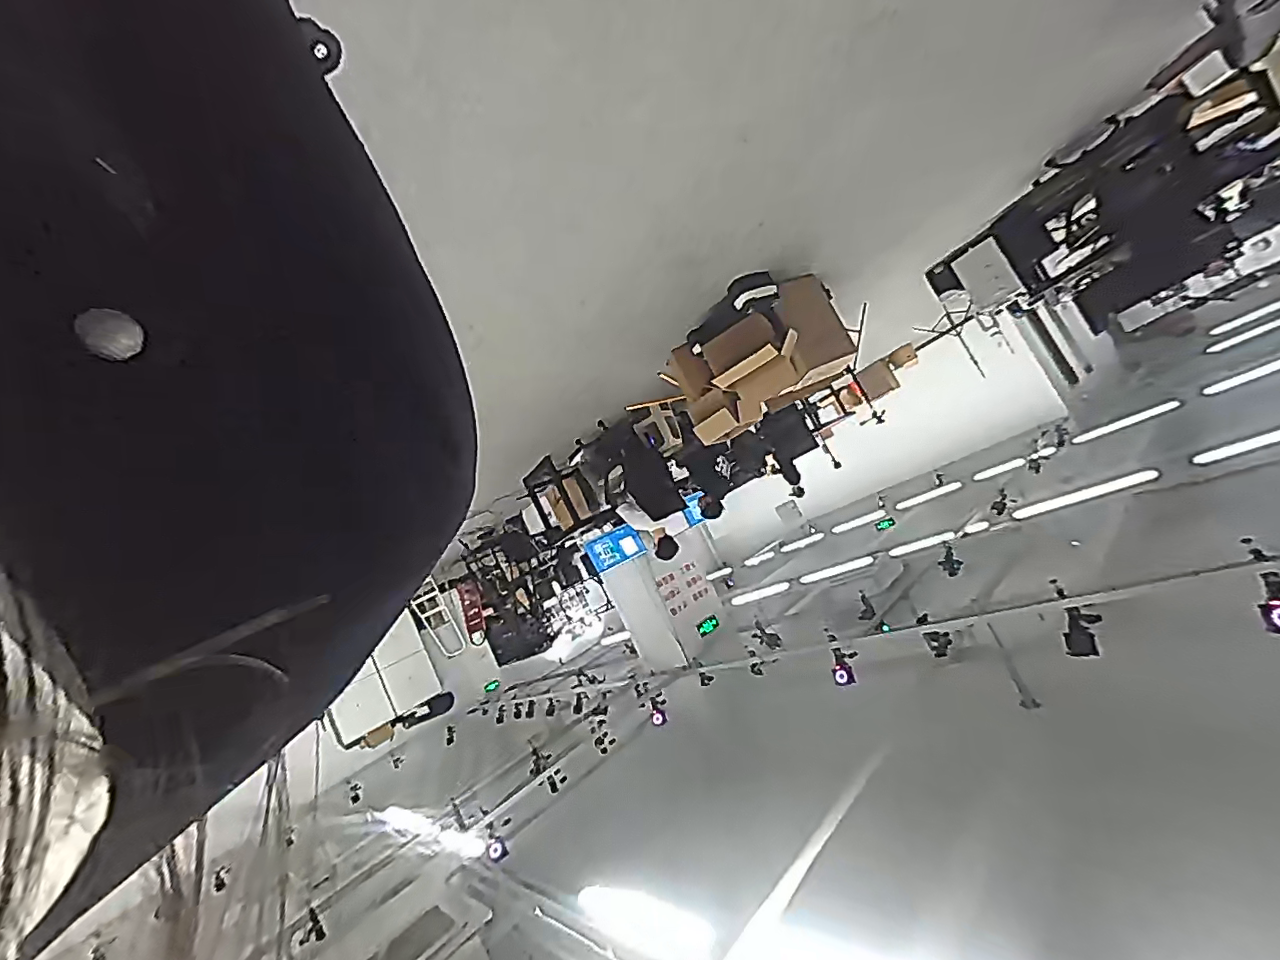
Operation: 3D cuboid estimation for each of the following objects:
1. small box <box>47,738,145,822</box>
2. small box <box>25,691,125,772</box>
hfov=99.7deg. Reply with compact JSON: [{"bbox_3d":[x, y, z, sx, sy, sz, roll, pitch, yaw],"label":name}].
[{"bbox_3d":[-1.720,0.941,1.713,0.168,0.176,0.179,-22,172,-39],"label":"small box"},{"bbox_3d":[-1.798,0.797,1.721,0.179,0.176,0.168,-21,171,-36],"label":"small box"}]
